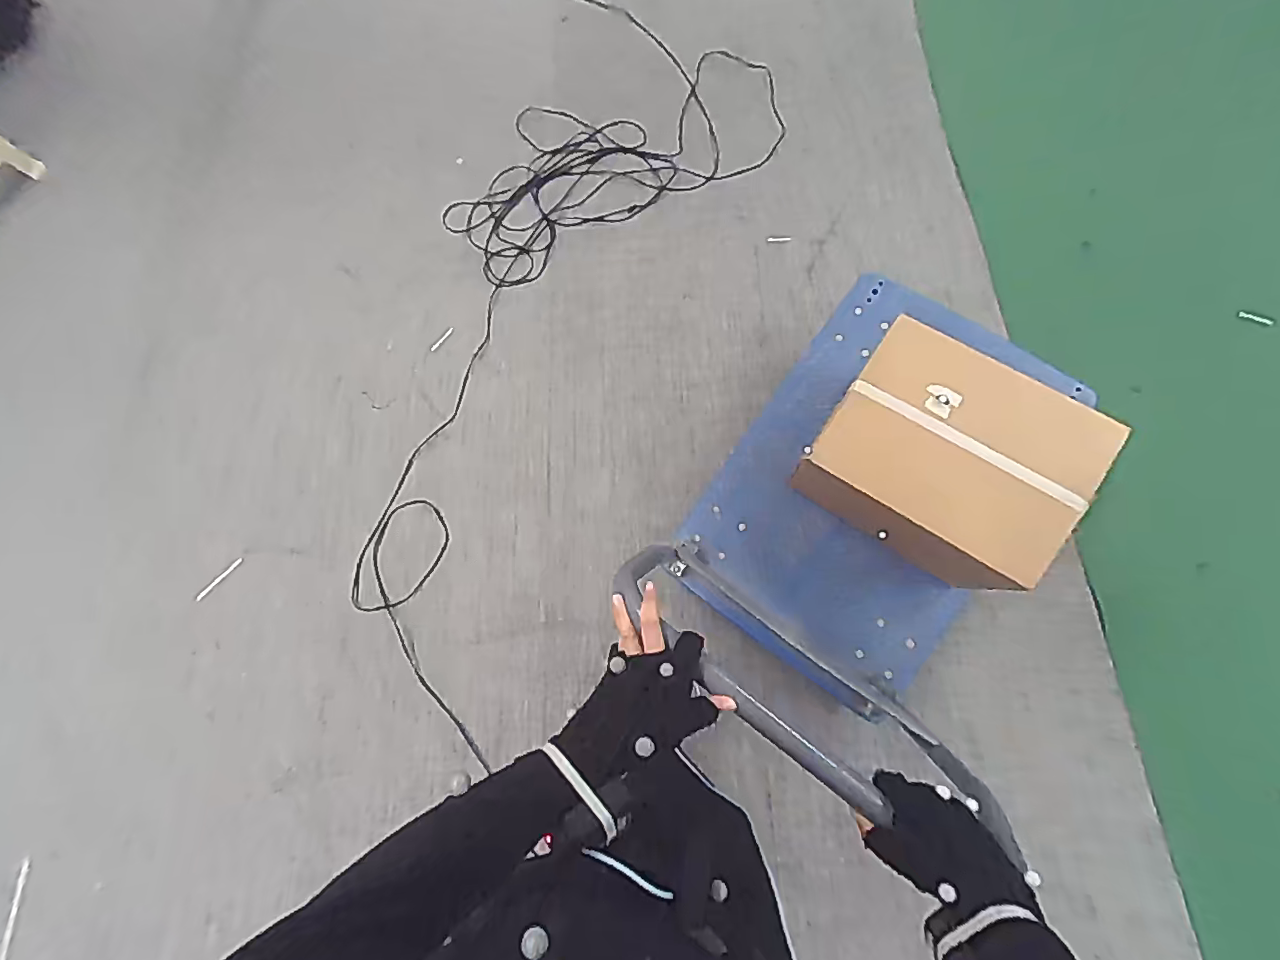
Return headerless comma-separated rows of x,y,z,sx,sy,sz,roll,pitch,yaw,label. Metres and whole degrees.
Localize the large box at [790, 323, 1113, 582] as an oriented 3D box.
0.559,-0.034,1.066,0.408,0.320,0.320,32,87,14,large box
